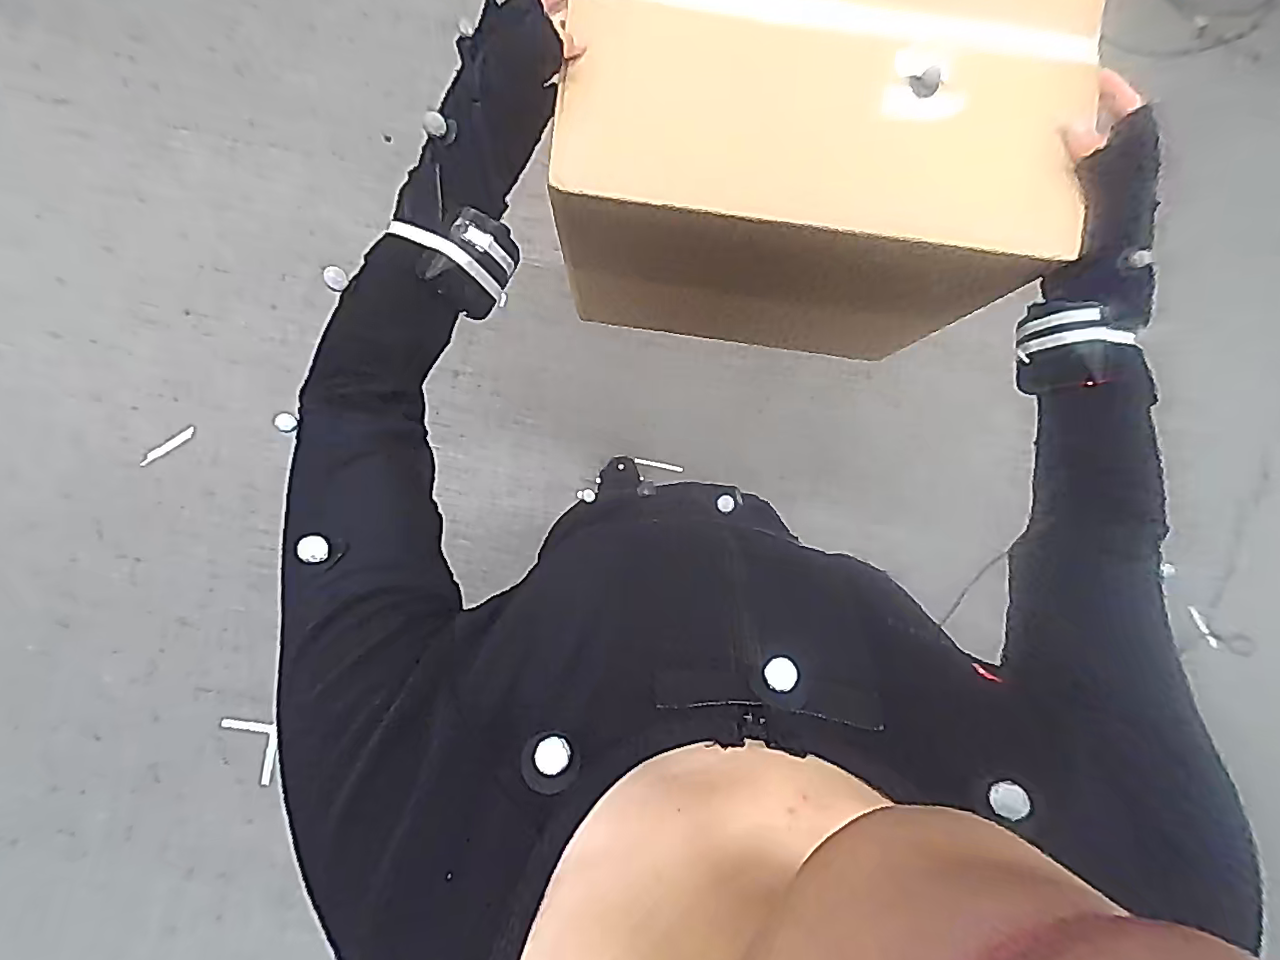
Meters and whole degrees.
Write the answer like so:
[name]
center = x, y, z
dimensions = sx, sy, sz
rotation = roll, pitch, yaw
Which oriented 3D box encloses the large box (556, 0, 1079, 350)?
[large box]
center = 0.138, -0.347, 0.571
dimensions = 0.408, 0.320, 0.320
rotation = 7, 89, -3
